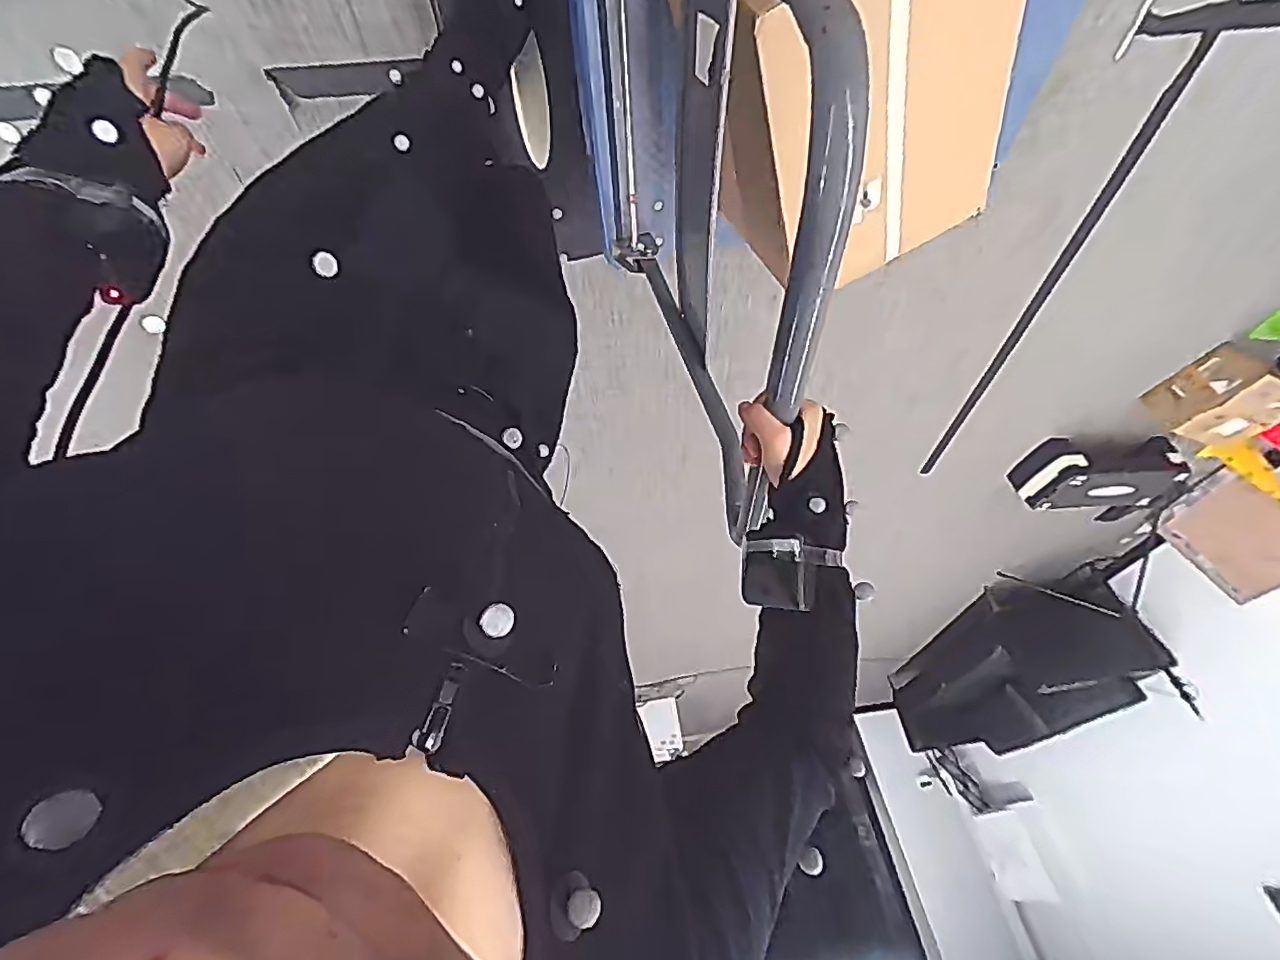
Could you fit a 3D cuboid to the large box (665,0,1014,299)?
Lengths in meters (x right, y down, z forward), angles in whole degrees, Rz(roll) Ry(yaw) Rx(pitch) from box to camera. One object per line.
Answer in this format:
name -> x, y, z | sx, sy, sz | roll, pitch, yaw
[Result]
large box -> 0.267, -0.560, 0.771 | 0.320, 0.320, 0.408 | -27, 146, 7
